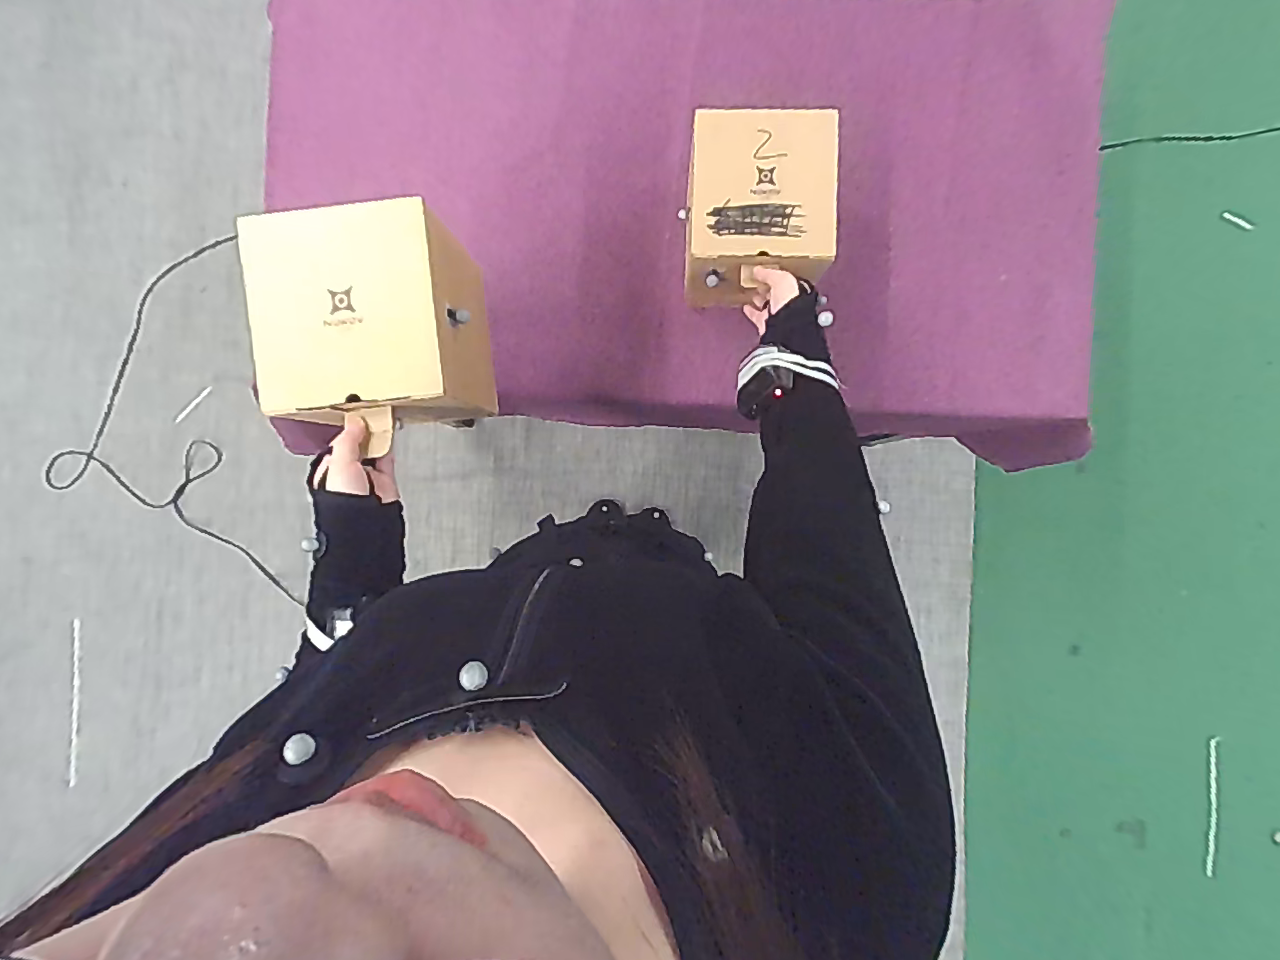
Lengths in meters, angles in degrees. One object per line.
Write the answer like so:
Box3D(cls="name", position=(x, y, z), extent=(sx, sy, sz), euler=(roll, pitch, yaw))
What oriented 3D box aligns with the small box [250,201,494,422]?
Box3D(cls="small box", position=(-0.262, -0.160, 0.568), extent=(0.168, 0.176, 0.179), euler=(-6, 92, 1))
